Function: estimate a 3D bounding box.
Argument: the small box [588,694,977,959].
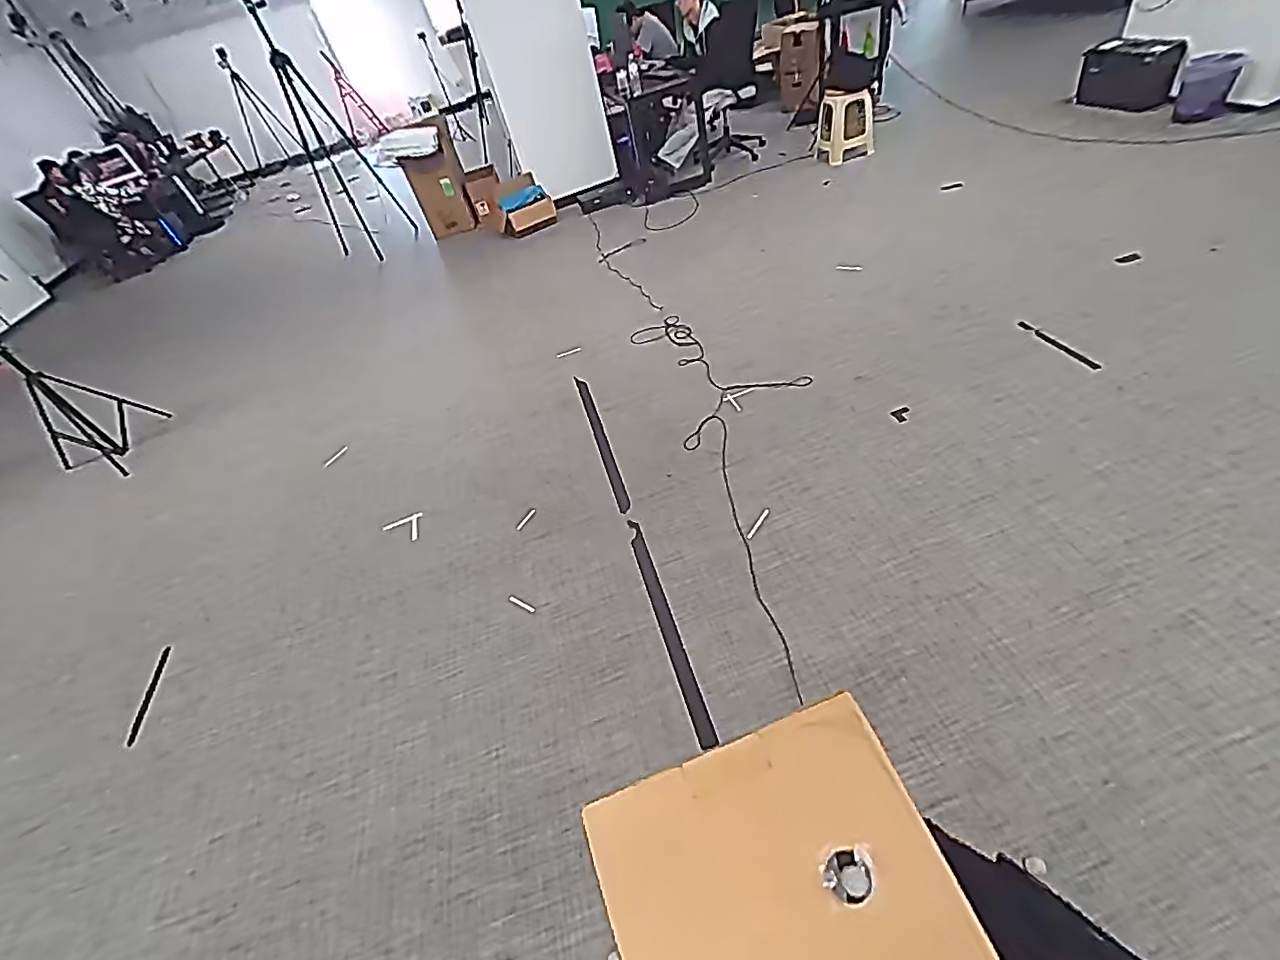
[{"bbox_3d":[0.083,0.261,0.348,0.168,0.179,0.176,-21,62,-5],"label":"small box"}]
